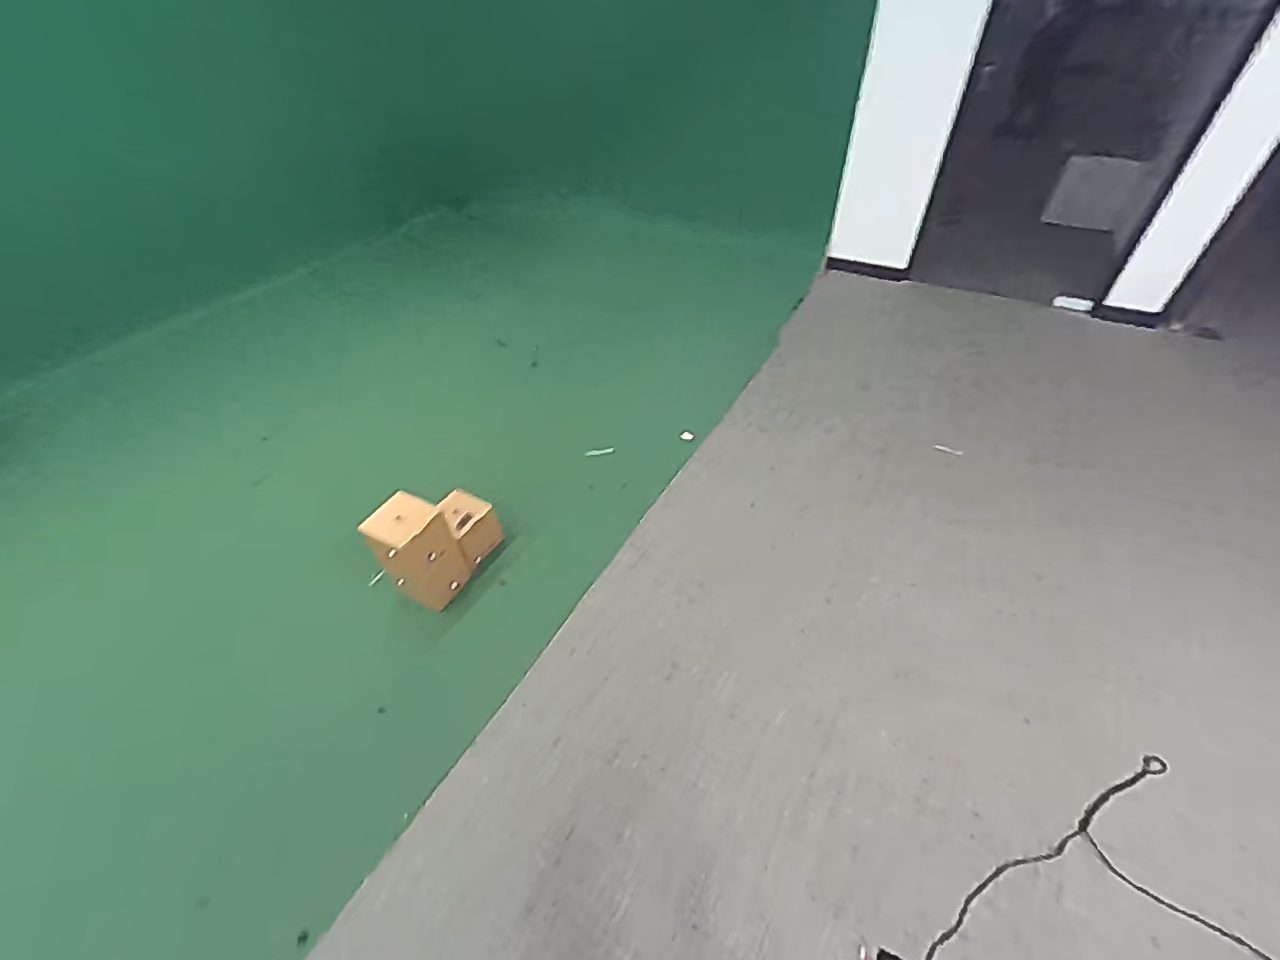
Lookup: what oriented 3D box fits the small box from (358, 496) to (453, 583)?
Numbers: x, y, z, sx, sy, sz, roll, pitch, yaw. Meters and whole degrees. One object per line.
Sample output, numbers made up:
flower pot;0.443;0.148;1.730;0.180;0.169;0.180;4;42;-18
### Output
small box;-0.695;0.181;1.621;0.179;0.176;0.168;19;49;20
